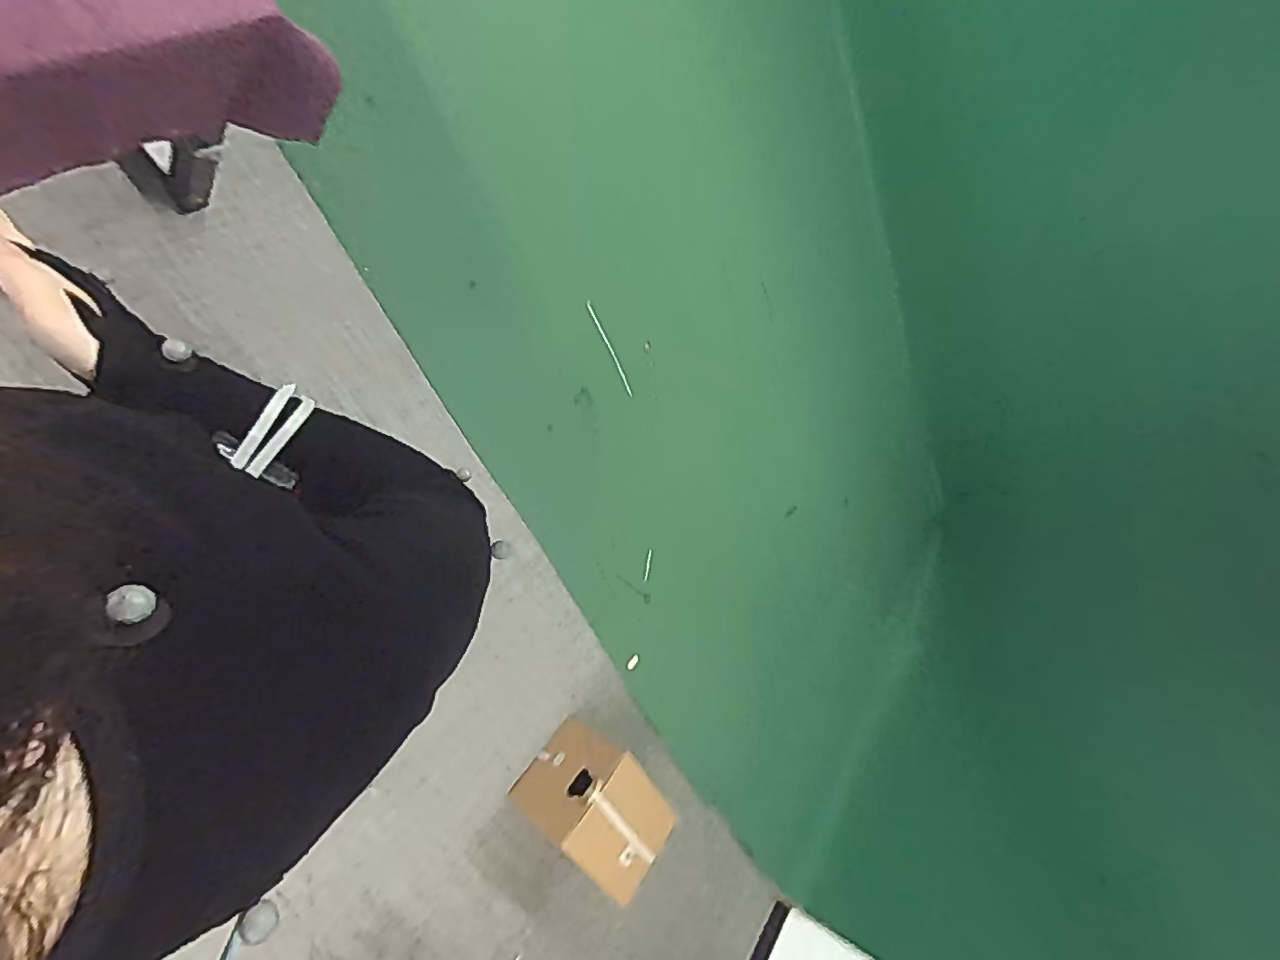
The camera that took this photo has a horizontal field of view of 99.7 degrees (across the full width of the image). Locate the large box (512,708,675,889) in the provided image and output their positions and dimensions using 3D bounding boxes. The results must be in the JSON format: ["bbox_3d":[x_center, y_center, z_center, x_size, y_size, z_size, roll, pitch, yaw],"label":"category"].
[{"bbox_3d":[-0.151,1.051,1.816,0.320,0.320,0.408,-46,122,-32],"label":"large box"}]
